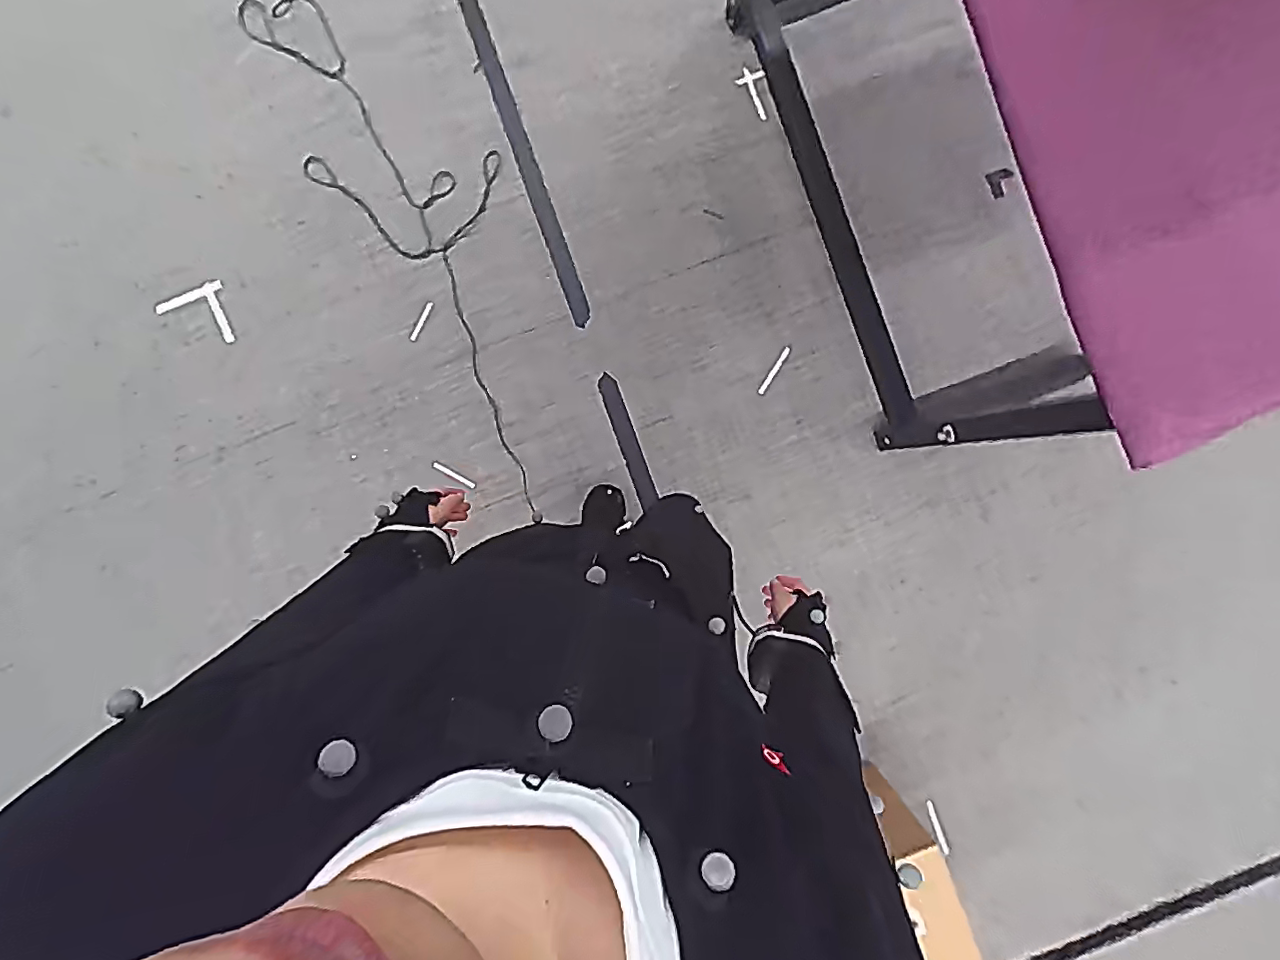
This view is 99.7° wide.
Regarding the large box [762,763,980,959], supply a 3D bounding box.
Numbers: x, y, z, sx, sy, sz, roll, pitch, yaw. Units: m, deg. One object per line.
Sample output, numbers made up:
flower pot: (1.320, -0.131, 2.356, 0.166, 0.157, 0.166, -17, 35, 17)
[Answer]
large box: (0.526, 0.969, 1.257, 0.320, 0.320, 0.408, -22, 90, -1)
